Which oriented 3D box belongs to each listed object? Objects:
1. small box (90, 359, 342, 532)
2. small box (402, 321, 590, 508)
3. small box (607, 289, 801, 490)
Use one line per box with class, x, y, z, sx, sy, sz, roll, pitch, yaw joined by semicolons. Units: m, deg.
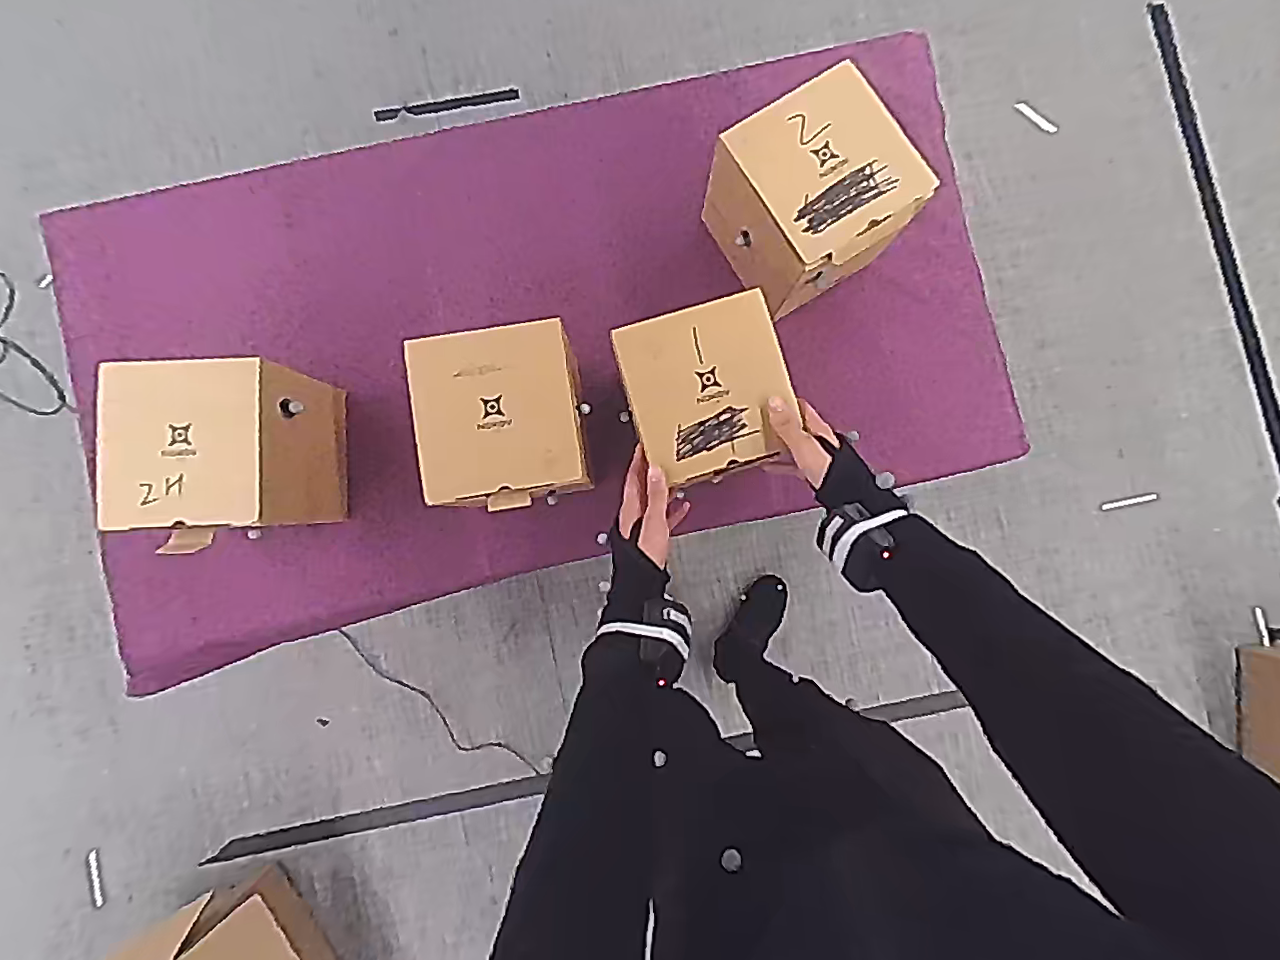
small box;-0.471;-0.032;0.627;0.168;0.176;0.179;-2;88;-1
small box;-0.155;-0.065;0.635;0.168;0.176;0.179;-9;87;-2
small box;0.067;-0.091;0.636;0.168;0.176;0.179;-16;86;-1
